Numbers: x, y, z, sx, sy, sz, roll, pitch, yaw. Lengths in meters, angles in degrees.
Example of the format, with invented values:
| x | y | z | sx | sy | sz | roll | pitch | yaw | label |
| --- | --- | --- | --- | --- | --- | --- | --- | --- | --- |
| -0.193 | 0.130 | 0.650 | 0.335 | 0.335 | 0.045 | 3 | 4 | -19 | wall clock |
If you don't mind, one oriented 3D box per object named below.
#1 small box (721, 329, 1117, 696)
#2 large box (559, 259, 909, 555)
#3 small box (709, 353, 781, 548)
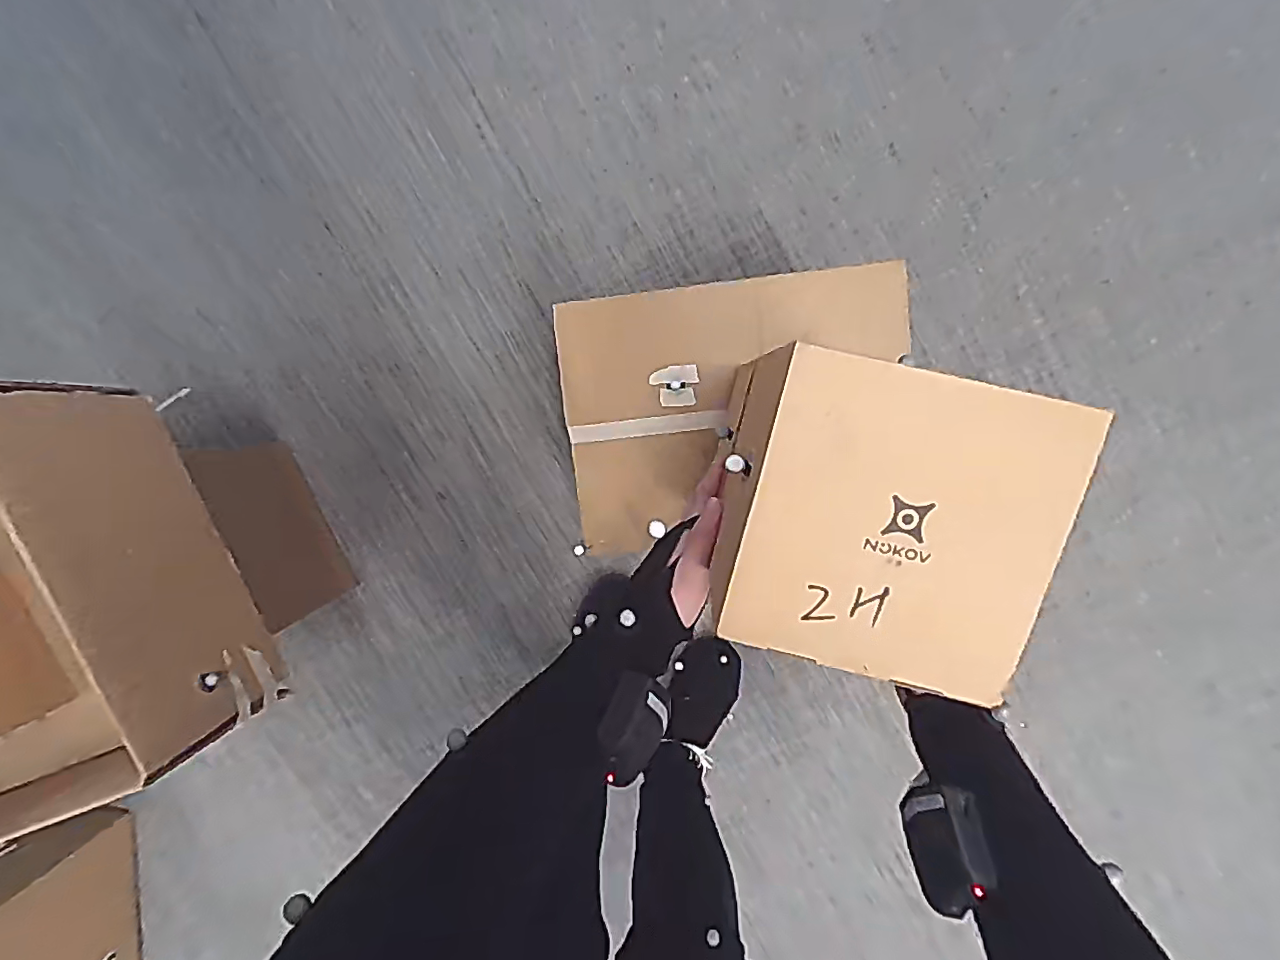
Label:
| x | y | z | sx | sy | sz | roll | pitch | yaw | label |
| --- | --- | --- | --- | --- | --- | --- | --- | --- | --- |
| 0.156 | 0.009 | 0.375 | 0.168 | 0.176 | 0.179 | 14 | 101 | 3 | small box |
| 0.131 | -0.099 | 0.787 | 0.408 | 0.320 | 0.320 | -5 | 98 | 7 | large box |
| 0.168 | -0.018 | 0.540 | 0.168 | 0.176 | 0.179 | 14 | 101 | 3 | small box |
